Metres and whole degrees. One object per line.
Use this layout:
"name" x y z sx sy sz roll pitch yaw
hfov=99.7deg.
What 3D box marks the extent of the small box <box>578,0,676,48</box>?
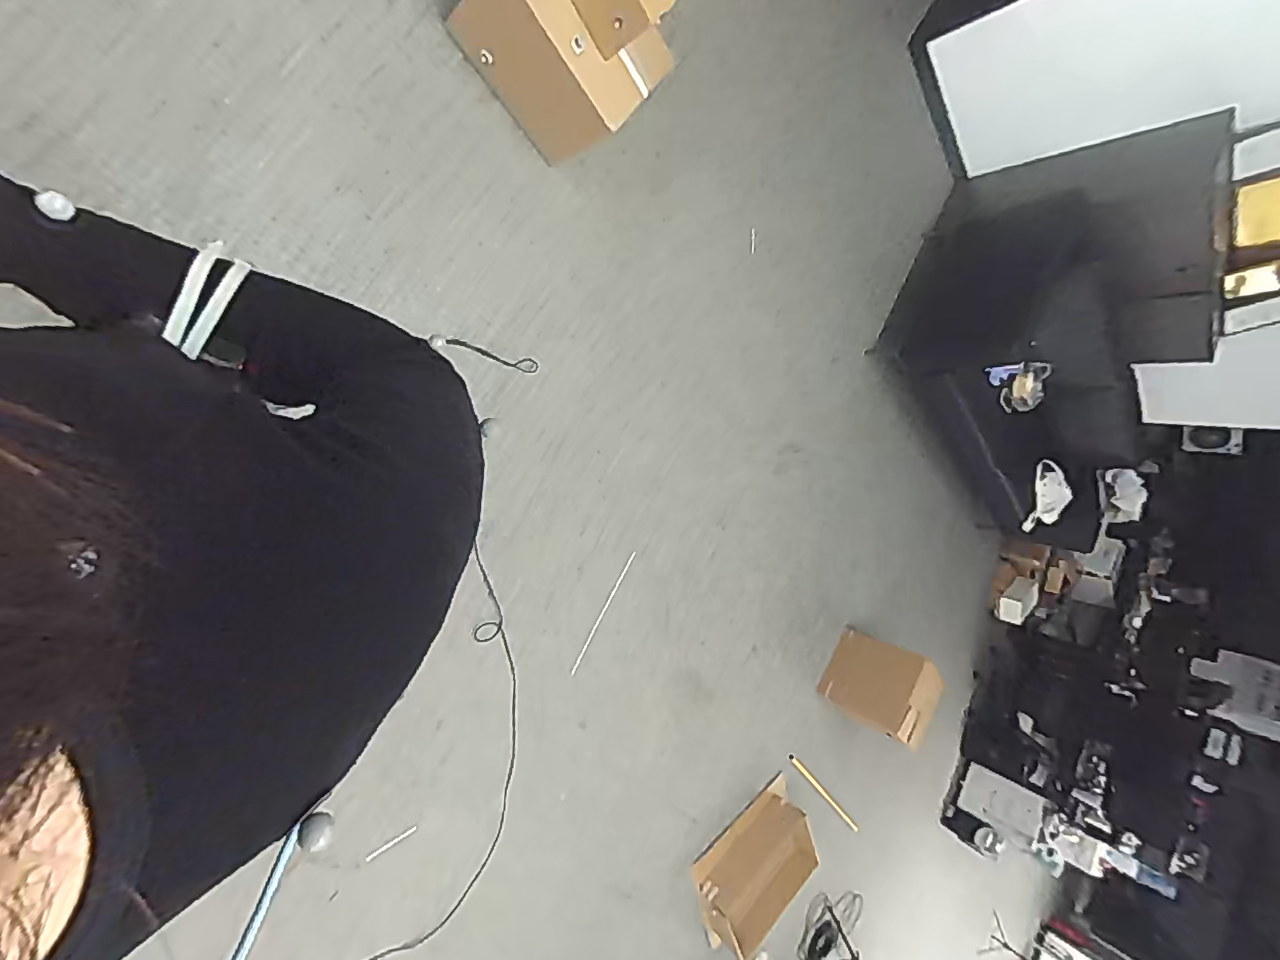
"small box" -0.031 -1.120 1.212 0.179 0.176 0.168 48 66 -35
